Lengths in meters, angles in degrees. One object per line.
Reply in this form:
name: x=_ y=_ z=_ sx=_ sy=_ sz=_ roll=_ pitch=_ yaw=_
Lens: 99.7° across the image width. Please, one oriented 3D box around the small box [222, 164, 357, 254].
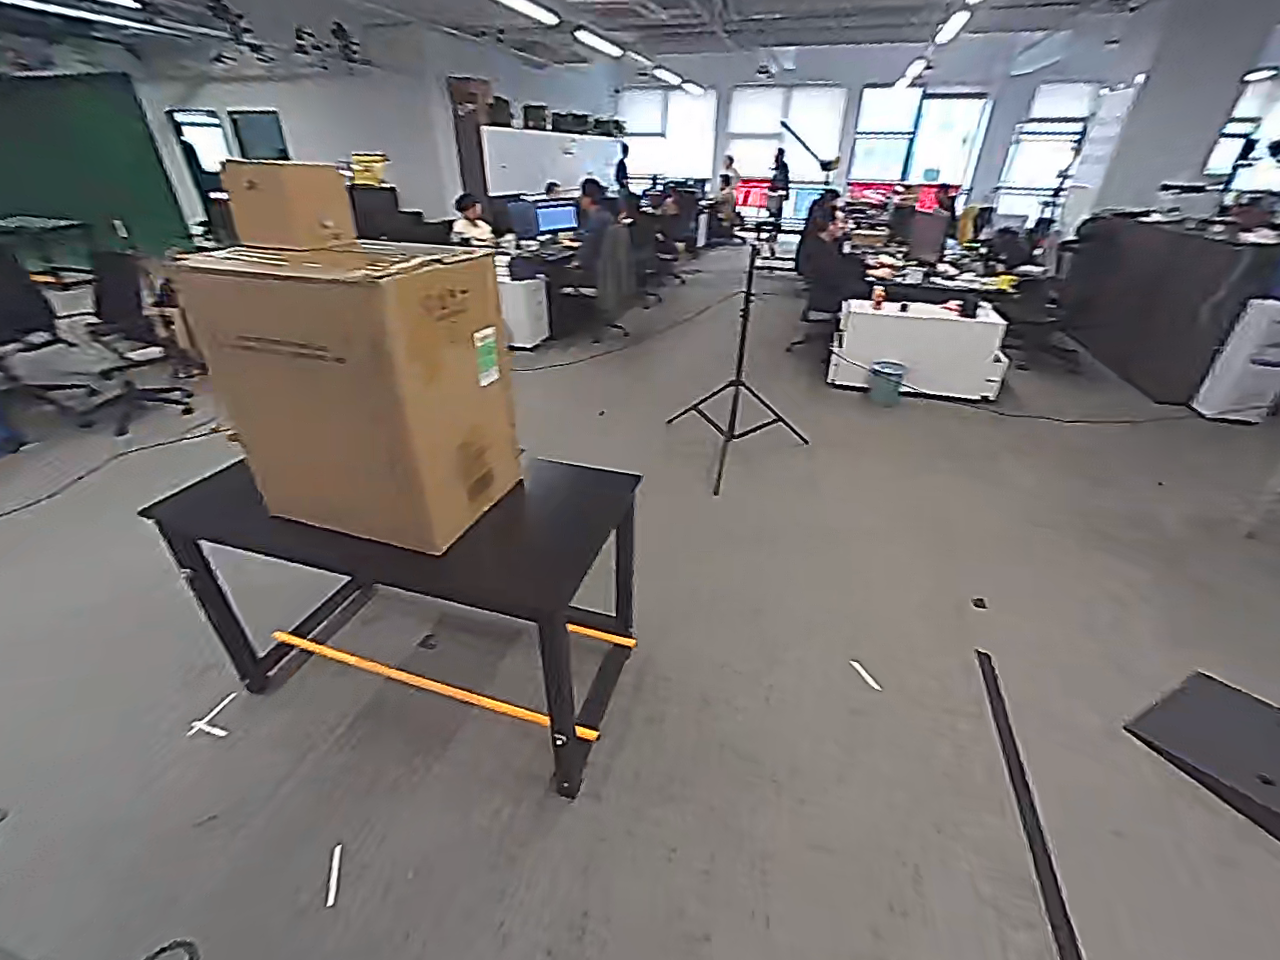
small box: x=-0.781 y=-0.611 z=1.222 sx=0.179 sy=0.176 sz=0.168 roll=11 pitch=31 yaw=14
